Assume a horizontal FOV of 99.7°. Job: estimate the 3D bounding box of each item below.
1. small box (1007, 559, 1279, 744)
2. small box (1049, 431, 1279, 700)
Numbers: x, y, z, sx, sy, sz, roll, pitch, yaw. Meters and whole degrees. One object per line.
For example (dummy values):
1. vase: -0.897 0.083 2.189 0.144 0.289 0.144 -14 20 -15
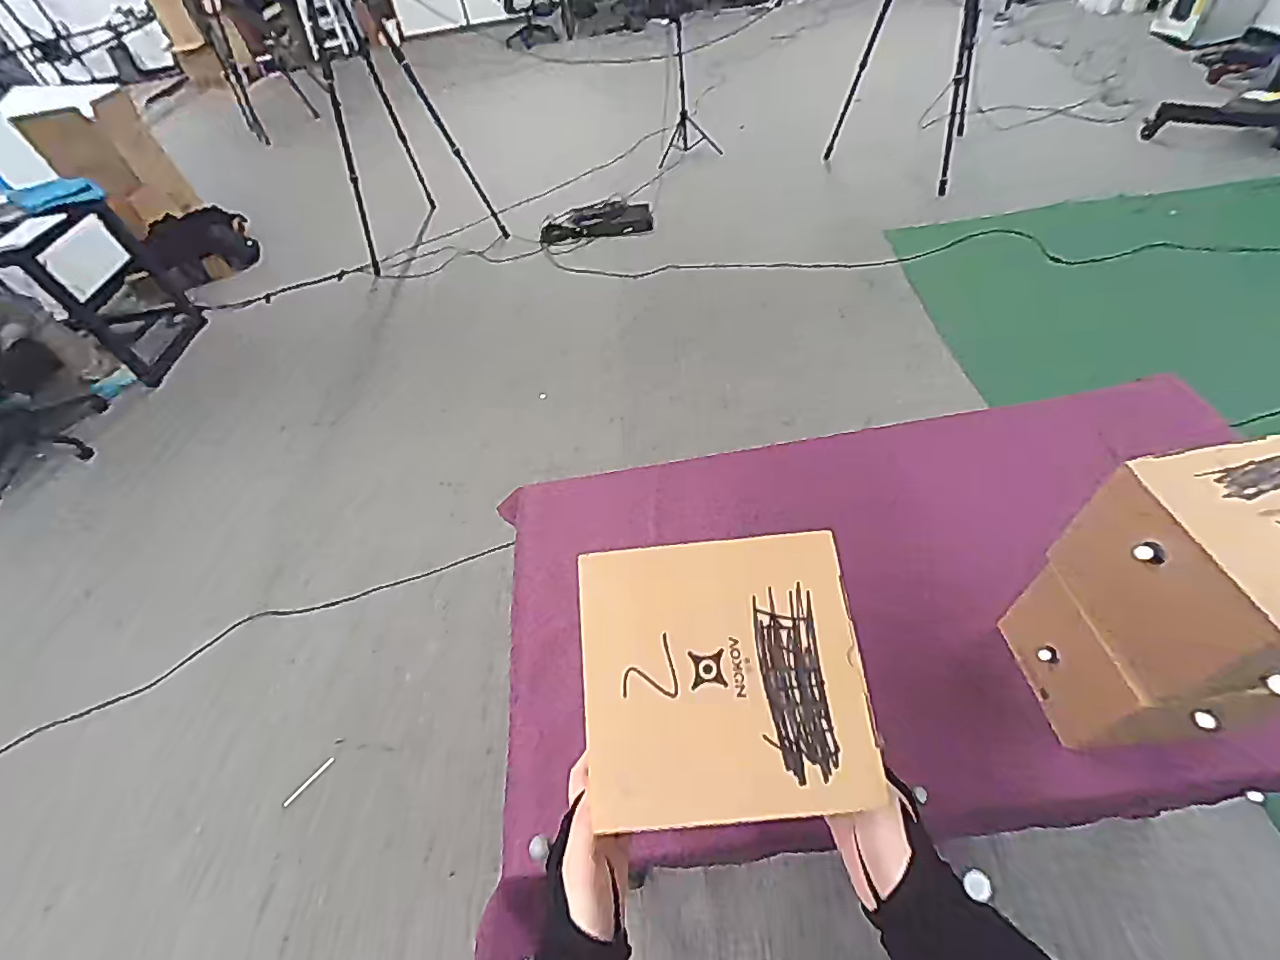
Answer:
1. small box: 0.567 0.194 0.629 0.179 0.176 0.168 -8 50 3
2. small box: 0.543 0.083 0.510 0.168 0.176 0.179 -10 50 2
